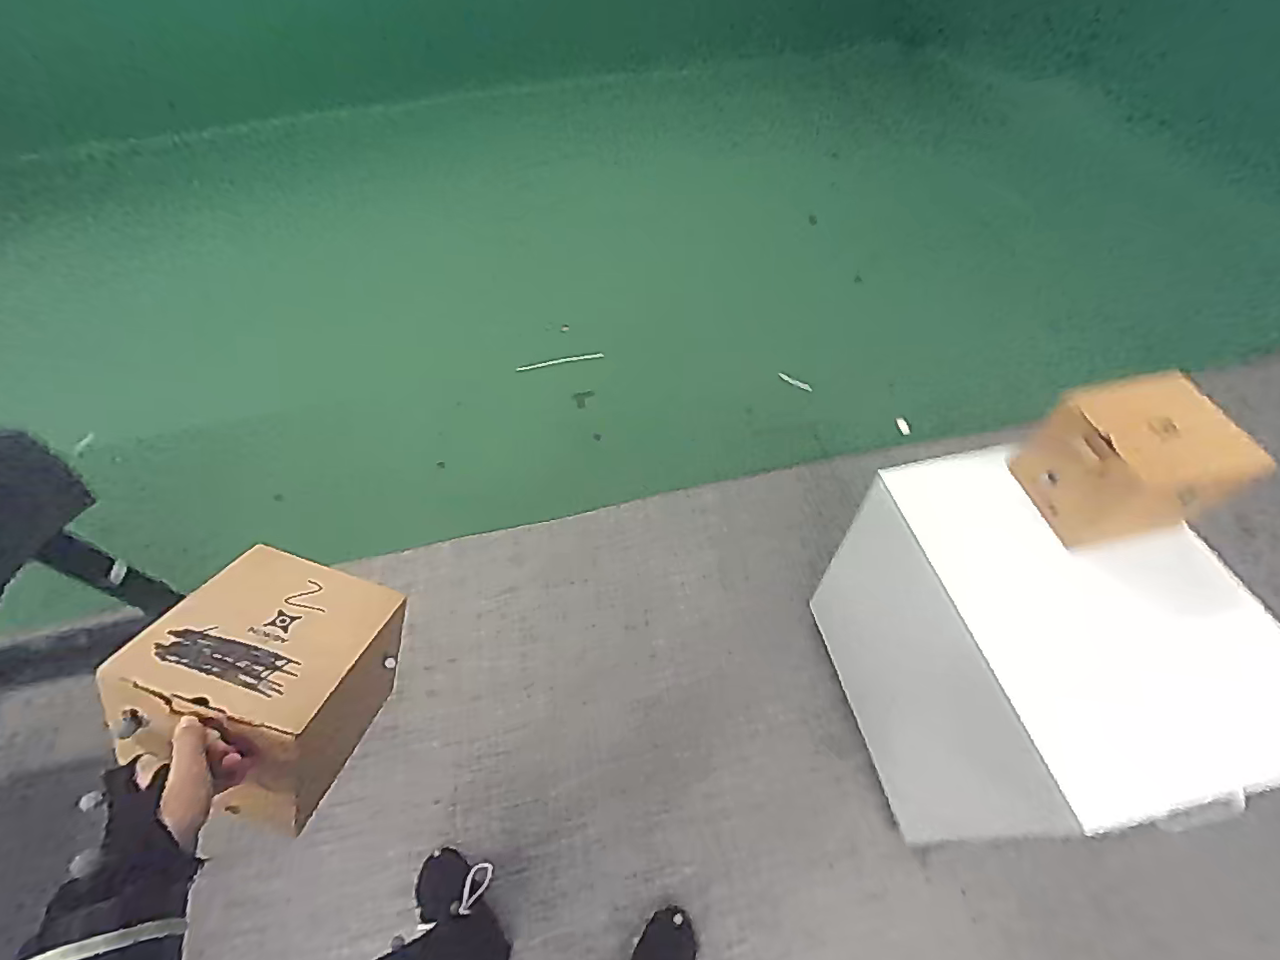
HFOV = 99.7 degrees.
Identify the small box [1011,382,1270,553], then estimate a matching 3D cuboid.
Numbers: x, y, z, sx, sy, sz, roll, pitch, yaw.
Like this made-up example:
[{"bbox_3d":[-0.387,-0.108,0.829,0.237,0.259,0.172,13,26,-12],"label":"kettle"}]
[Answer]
[{"bbox_3d":[0.695,-0.014,0.780,0.179,0.176,0.168,-11,55,-4],"label":"small box"}]
